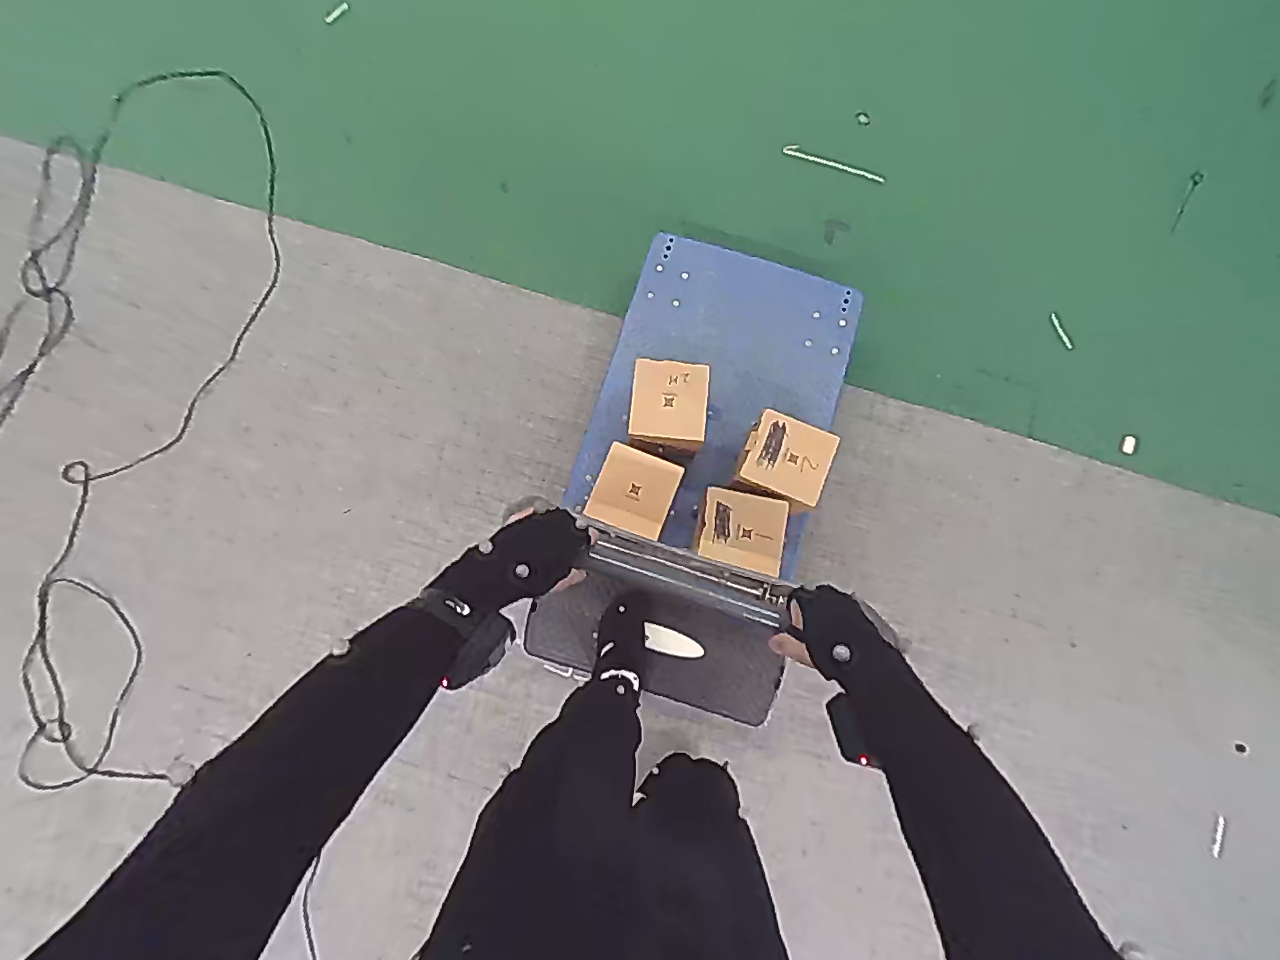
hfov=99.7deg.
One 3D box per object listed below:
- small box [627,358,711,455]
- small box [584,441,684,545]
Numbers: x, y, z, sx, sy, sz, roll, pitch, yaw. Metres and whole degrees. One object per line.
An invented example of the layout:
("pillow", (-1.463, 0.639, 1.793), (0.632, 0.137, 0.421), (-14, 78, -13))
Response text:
("small box", (0.063, -0.161, 1.248), (0.168, 0.176, 0.179), (7, 80, 0))
("small box", (-0.015, 0.036, 1.216), (0.168, 0.176, 0.179), (22, 81, 2))
